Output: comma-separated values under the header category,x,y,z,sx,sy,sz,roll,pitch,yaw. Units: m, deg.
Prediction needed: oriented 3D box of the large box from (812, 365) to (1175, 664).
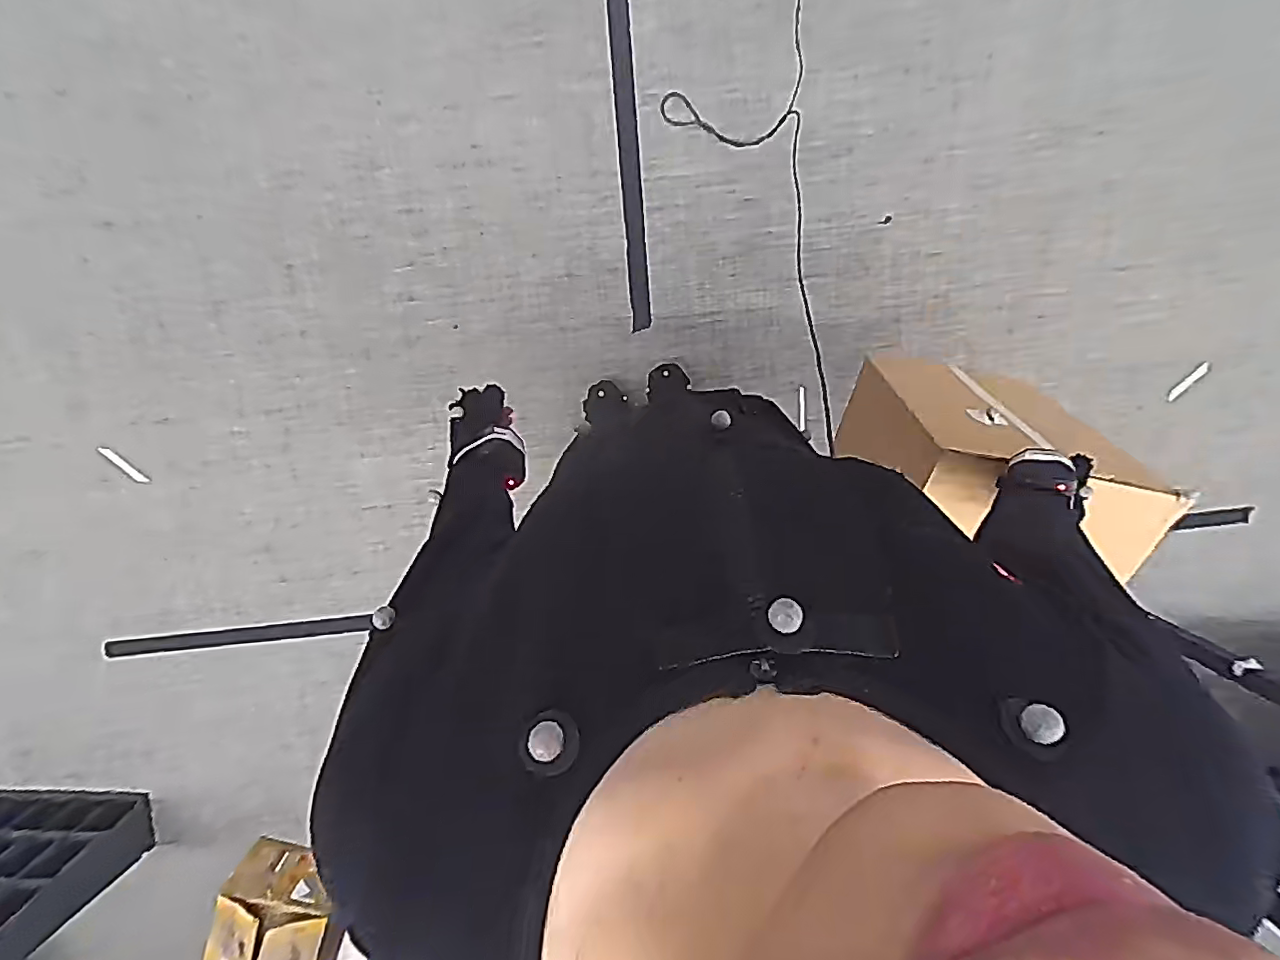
category,x,y,z,sx,sy,sz,roll,pitch,yaw
large box,0.526,0.036,0.932,0.320,0.408,0.320,10,121,1
